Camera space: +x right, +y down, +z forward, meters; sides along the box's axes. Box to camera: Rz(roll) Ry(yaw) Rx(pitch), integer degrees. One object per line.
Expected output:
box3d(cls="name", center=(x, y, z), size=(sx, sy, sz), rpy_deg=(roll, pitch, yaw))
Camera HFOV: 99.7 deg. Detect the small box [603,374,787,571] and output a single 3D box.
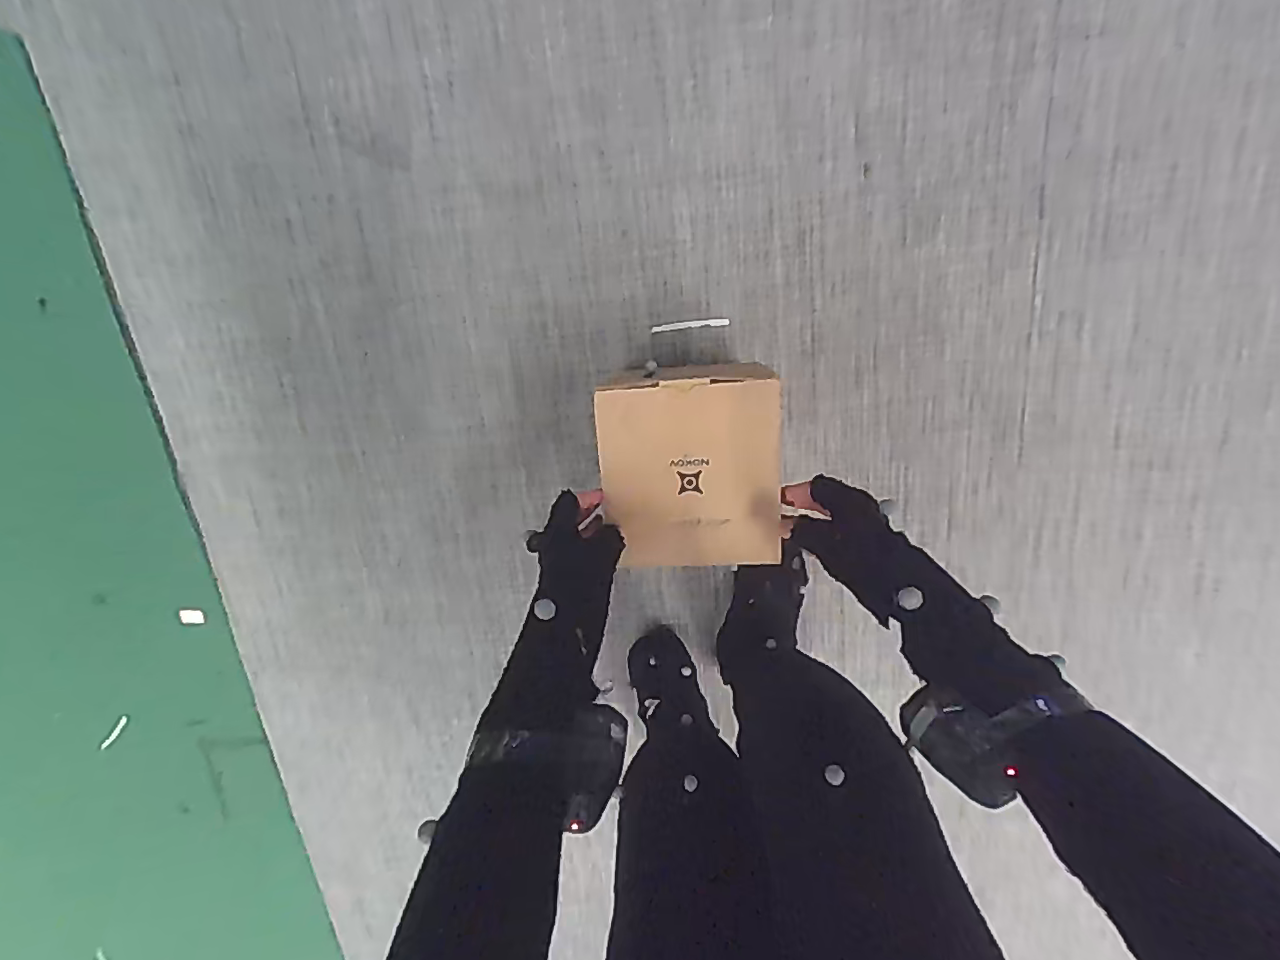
box3d(cls="small box", center=(0.061, -0.019, 0.579), size=(0.168, 0.176, 0.179), rpy_deg=(-3, 106, 9))
